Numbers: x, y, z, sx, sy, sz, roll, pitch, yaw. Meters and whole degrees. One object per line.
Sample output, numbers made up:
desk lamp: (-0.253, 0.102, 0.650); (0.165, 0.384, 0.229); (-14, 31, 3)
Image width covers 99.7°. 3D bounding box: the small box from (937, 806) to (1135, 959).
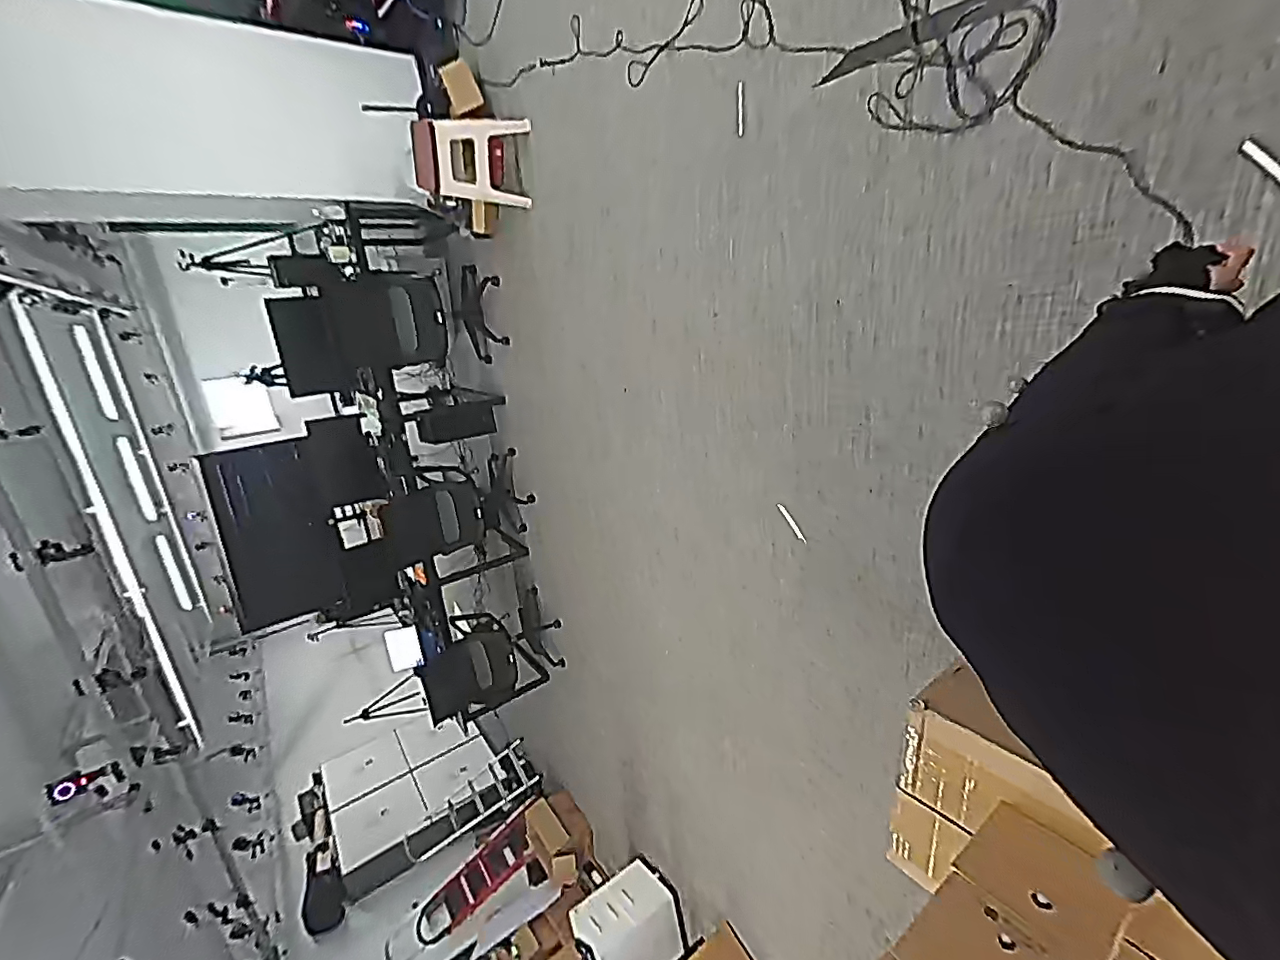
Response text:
small box: (0.566, 0.623, 0.778); (0.179, 0.176, 0.168); (22, 122, 52)
